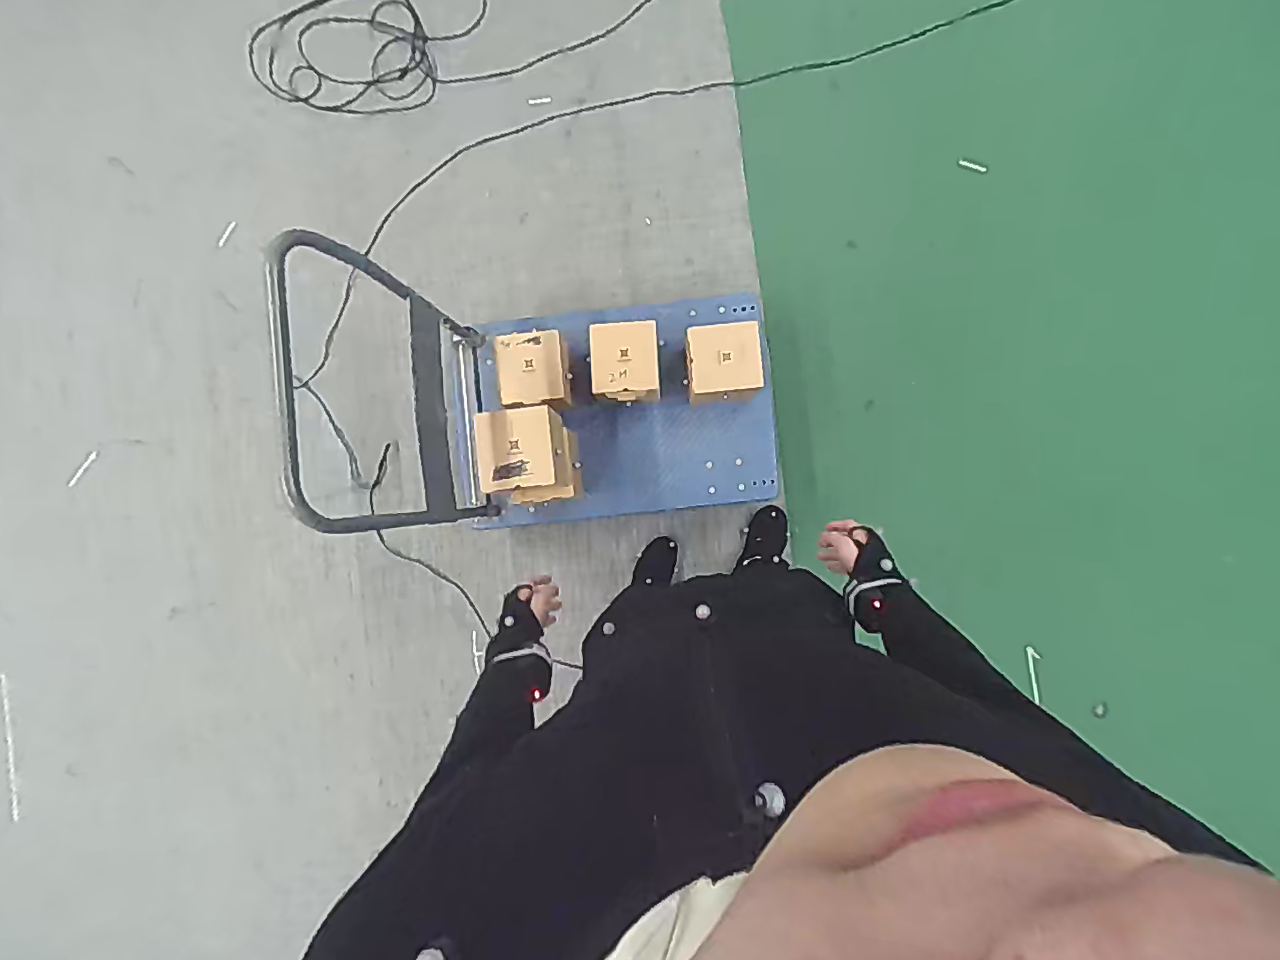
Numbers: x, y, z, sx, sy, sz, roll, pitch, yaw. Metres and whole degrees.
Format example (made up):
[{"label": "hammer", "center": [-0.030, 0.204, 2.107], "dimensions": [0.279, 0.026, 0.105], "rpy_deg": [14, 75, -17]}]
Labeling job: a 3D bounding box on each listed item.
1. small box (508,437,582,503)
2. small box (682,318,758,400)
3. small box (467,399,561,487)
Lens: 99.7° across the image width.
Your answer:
[{"label": "small box", "center": [-0.270, -0.048, 1.399], "dimensions": [0.179, 0.176, 0.168], "rpy_deg": [24, 91, 3]}, {"label": "small box", "center": [0.198, -0.303, 1.384], "dimensions": [0.179, 0.176, 0.168], "rpy_deg": [-4, 89, 2]}, {"label": "small box", "center": [-0.280, -0.076, 1.228], "dimensions": [0.168, 0.176, 0.179], "rpy_deg": [-6, 87, 1]}]
